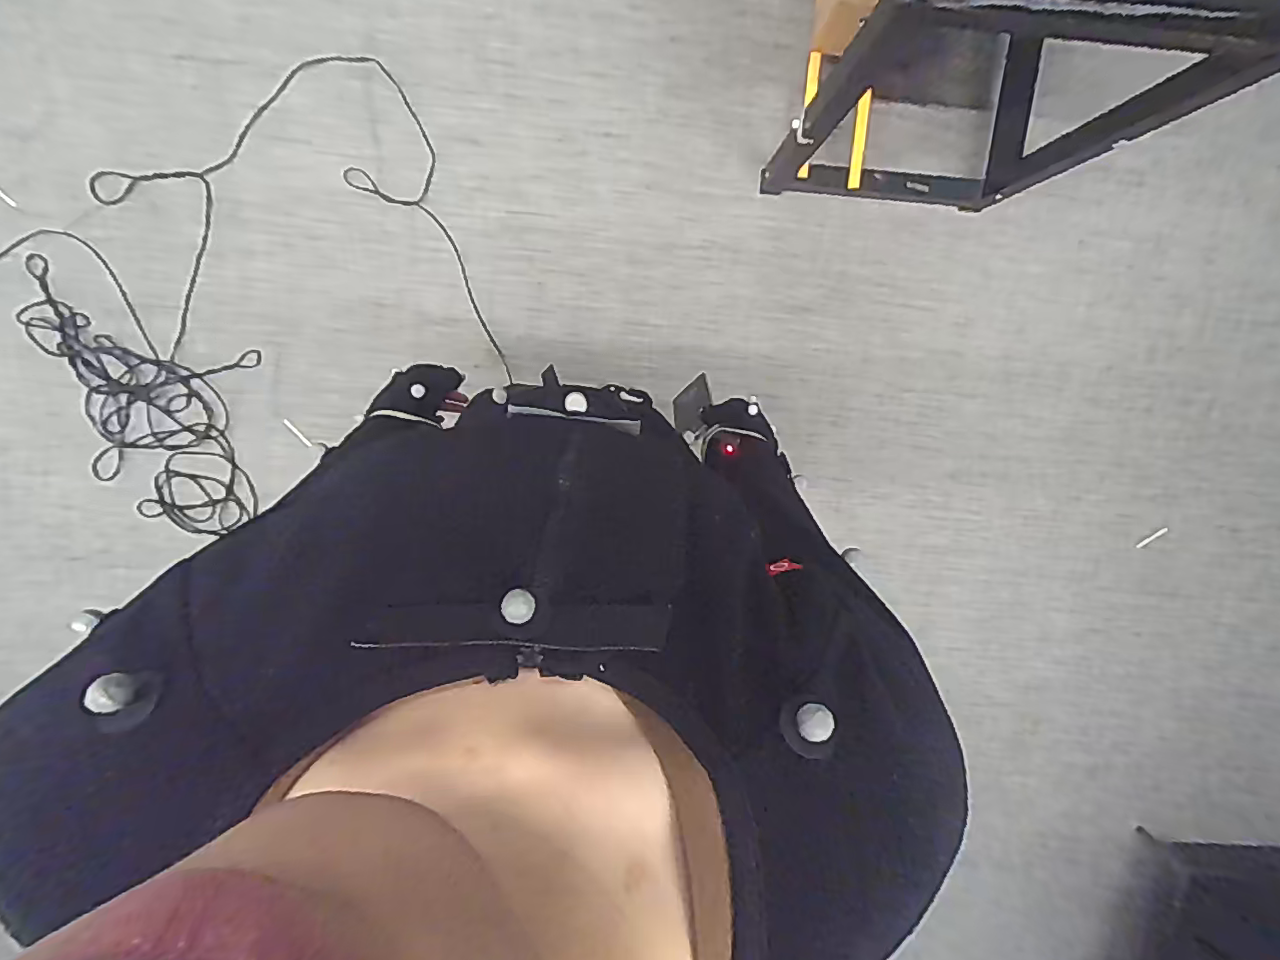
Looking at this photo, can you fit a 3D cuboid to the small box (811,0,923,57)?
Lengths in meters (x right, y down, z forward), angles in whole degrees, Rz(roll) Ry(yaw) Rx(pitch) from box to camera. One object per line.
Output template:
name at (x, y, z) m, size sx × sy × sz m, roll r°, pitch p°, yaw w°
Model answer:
small box at (0.474, -1.022, 1.121) m, size 0.179 × 0.176 × 0.168 m, roll 7°, pitch 101°, yaw -3°
